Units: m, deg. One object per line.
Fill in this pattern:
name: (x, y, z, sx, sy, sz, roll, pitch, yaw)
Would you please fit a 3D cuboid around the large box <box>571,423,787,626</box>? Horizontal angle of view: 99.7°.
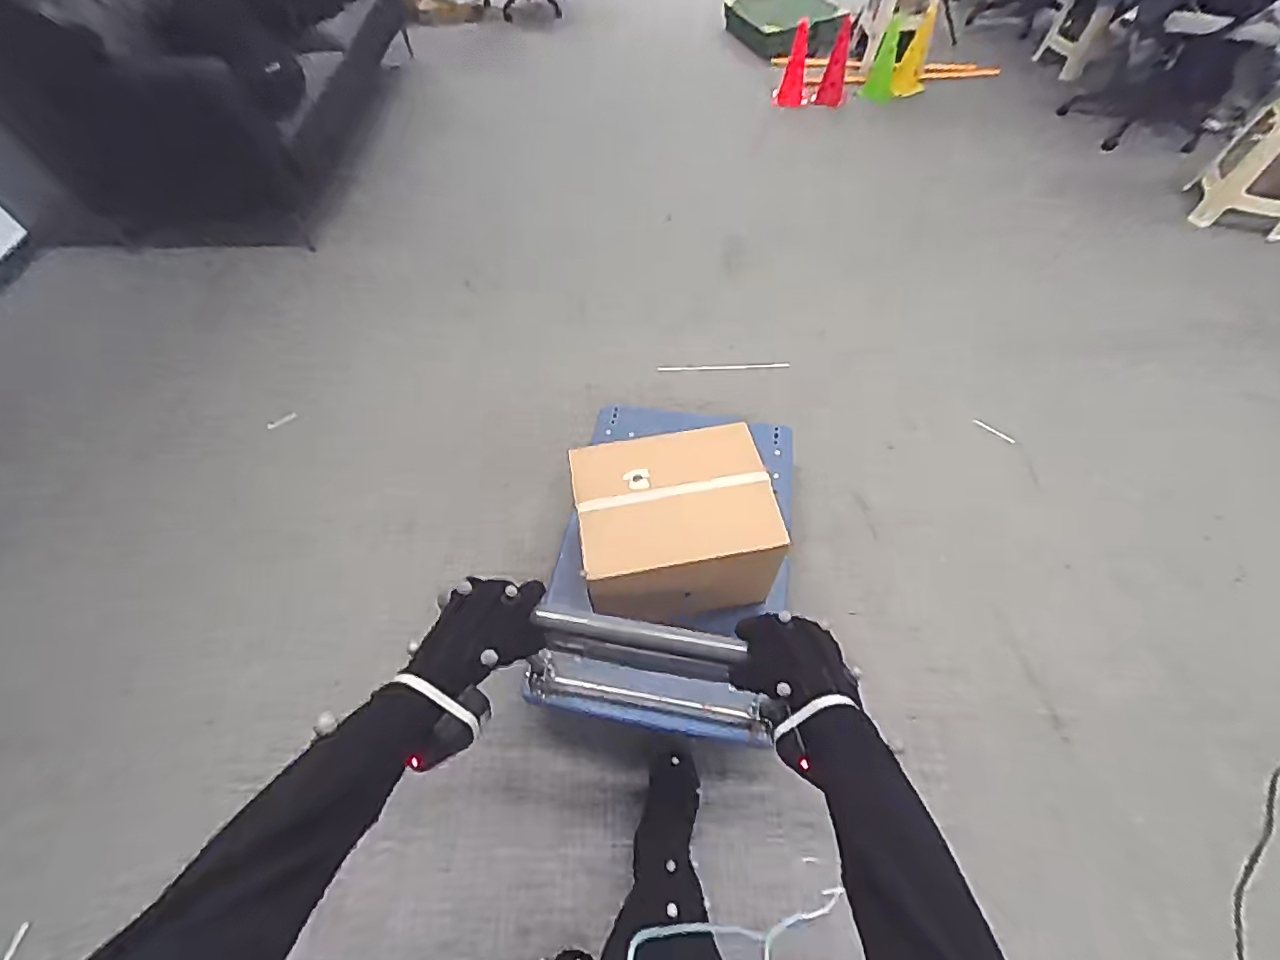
large box: (0.076, 0.111, 1.253, 0.408, 0.320, 0.320, -10, 56, -4)
